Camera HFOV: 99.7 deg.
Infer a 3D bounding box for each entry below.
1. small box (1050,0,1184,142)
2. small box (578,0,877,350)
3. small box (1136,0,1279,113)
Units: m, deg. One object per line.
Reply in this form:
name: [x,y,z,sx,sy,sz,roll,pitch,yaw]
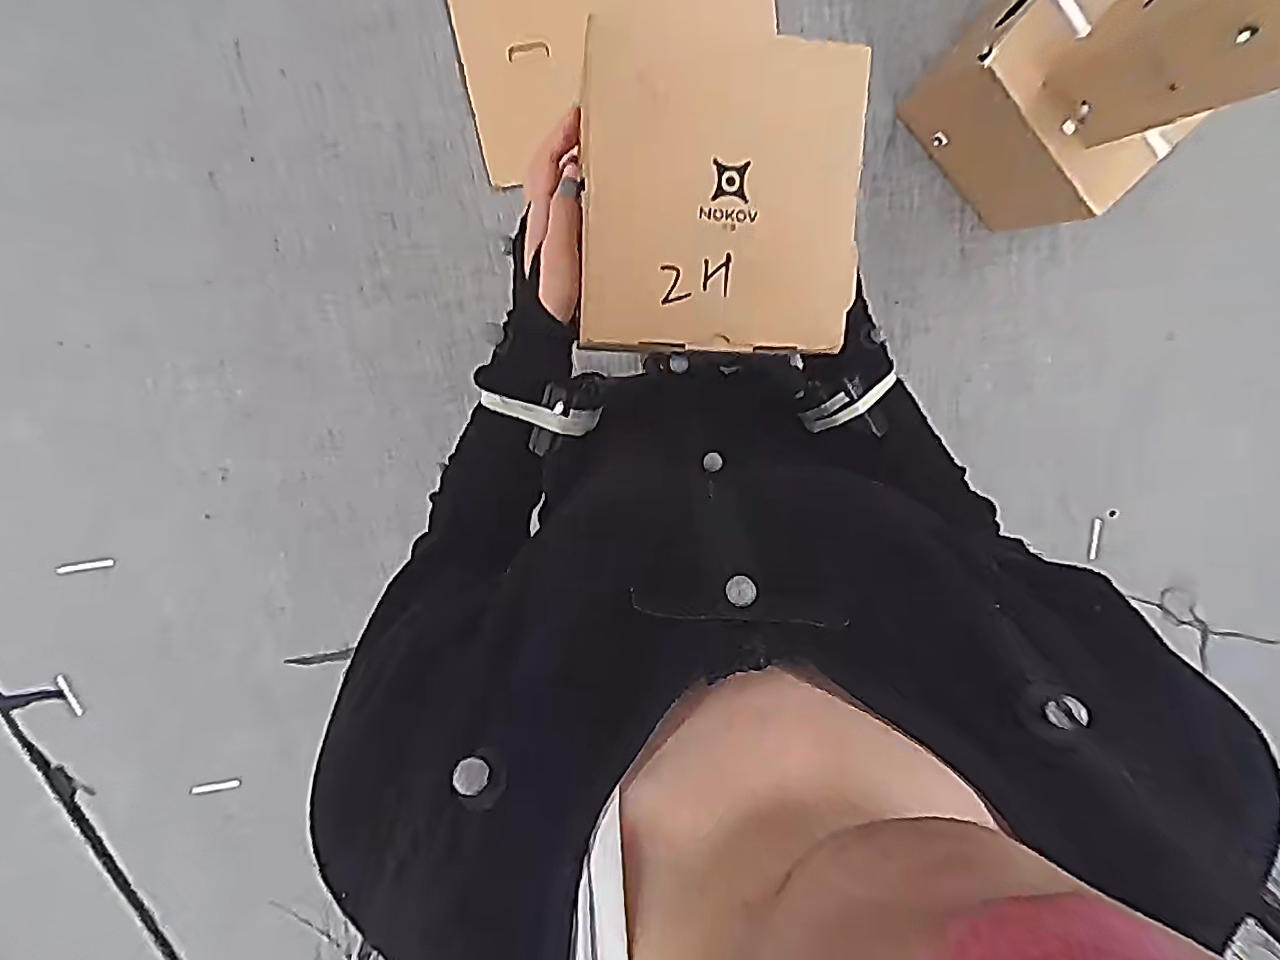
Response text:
small box: [0.870,-0.727,0.925,0.168,0.176,0.179,39,102,-15]
small box: [0.041,-0.191,0.391,0.168,0.176,0.179,0,101,-8]
small box: [0.884,-0.678,0.769,0.168,0.176,0.179,39,101,-15]
